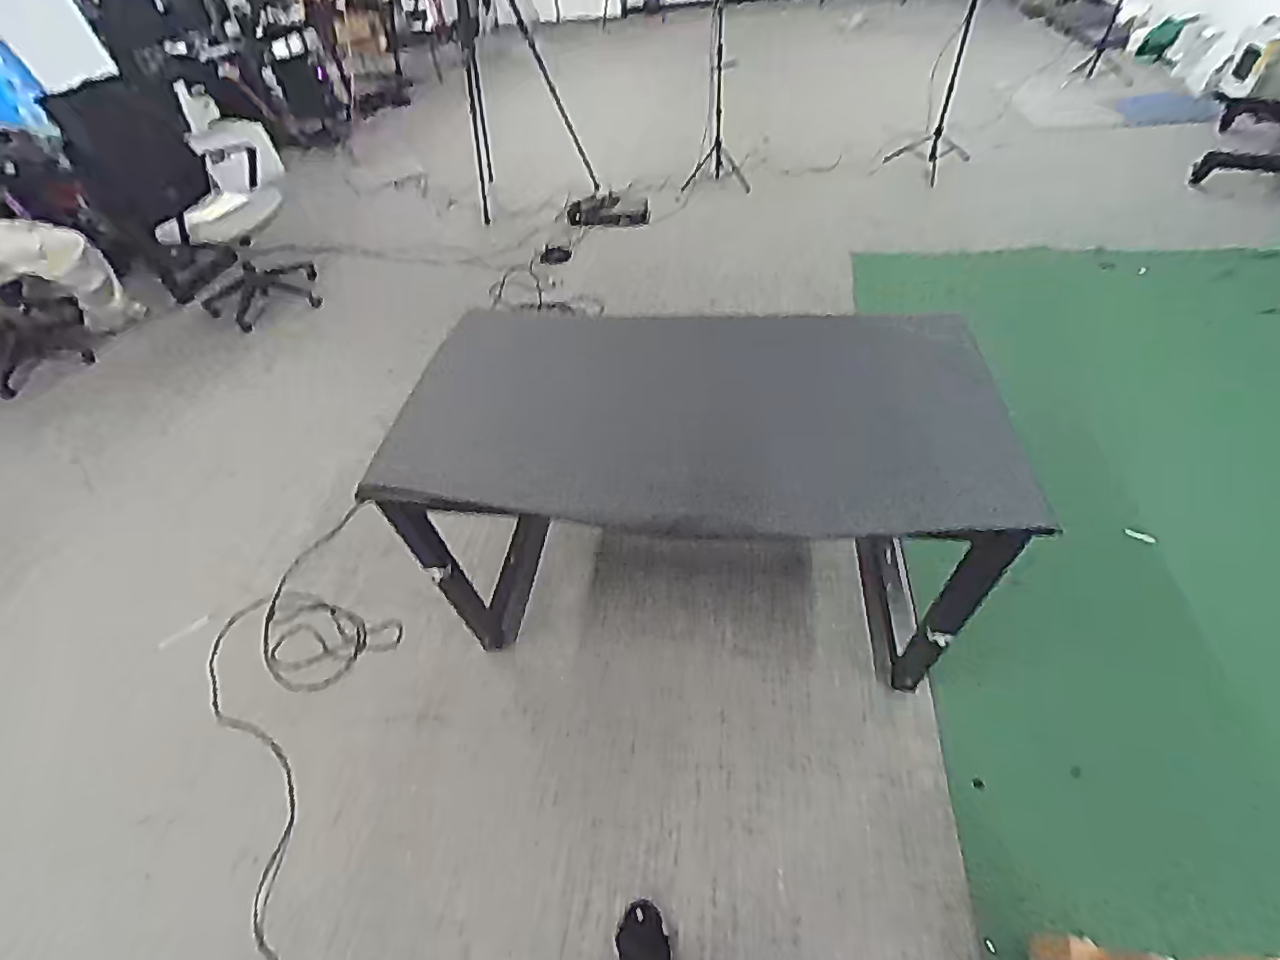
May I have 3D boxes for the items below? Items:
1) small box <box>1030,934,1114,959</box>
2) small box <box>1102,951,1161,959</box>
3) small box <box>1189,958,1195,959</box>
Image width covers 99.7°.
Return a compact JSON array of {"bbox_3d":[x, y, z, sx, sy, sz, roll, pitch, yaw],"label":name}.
[{"bbox_3d":[0.799,0.927,0.933,0.179,0.176,0.168,16,55,19],"label":"small box"},{"bbox_3d":[0.774,0.846,0.792,0.168,0.176,0.179,-40,56,-23],"label":"small box"},{"bbox_3d":[0.759,0.732,0.673,0.168,0.176,0.179,-15,48,-5],"label":"small box"}]
